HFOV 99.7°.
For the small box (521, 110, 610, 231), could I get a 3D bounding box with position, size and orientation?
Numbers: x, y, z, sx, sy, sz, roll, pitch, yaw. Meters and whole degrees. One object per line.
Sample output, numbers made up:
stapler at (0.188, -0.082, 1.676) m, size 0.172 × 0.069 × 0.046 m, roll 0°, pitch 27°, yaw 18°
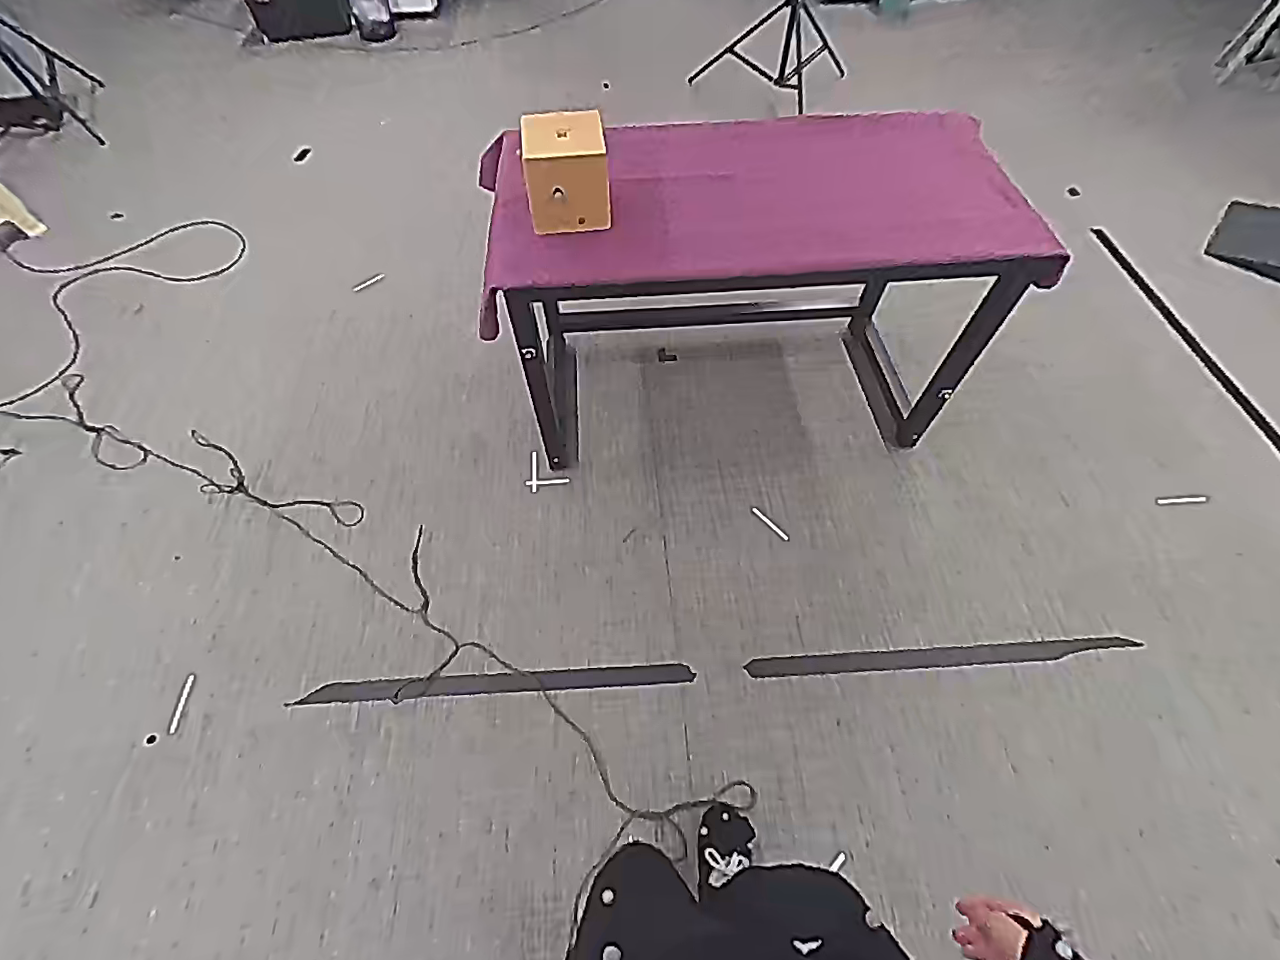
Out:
small box at (-0.156, -0.656, 1.160) m, size 0.168 × 0.176 × 0.179 m, roll -7°, pitch 58°, yaw -4°
